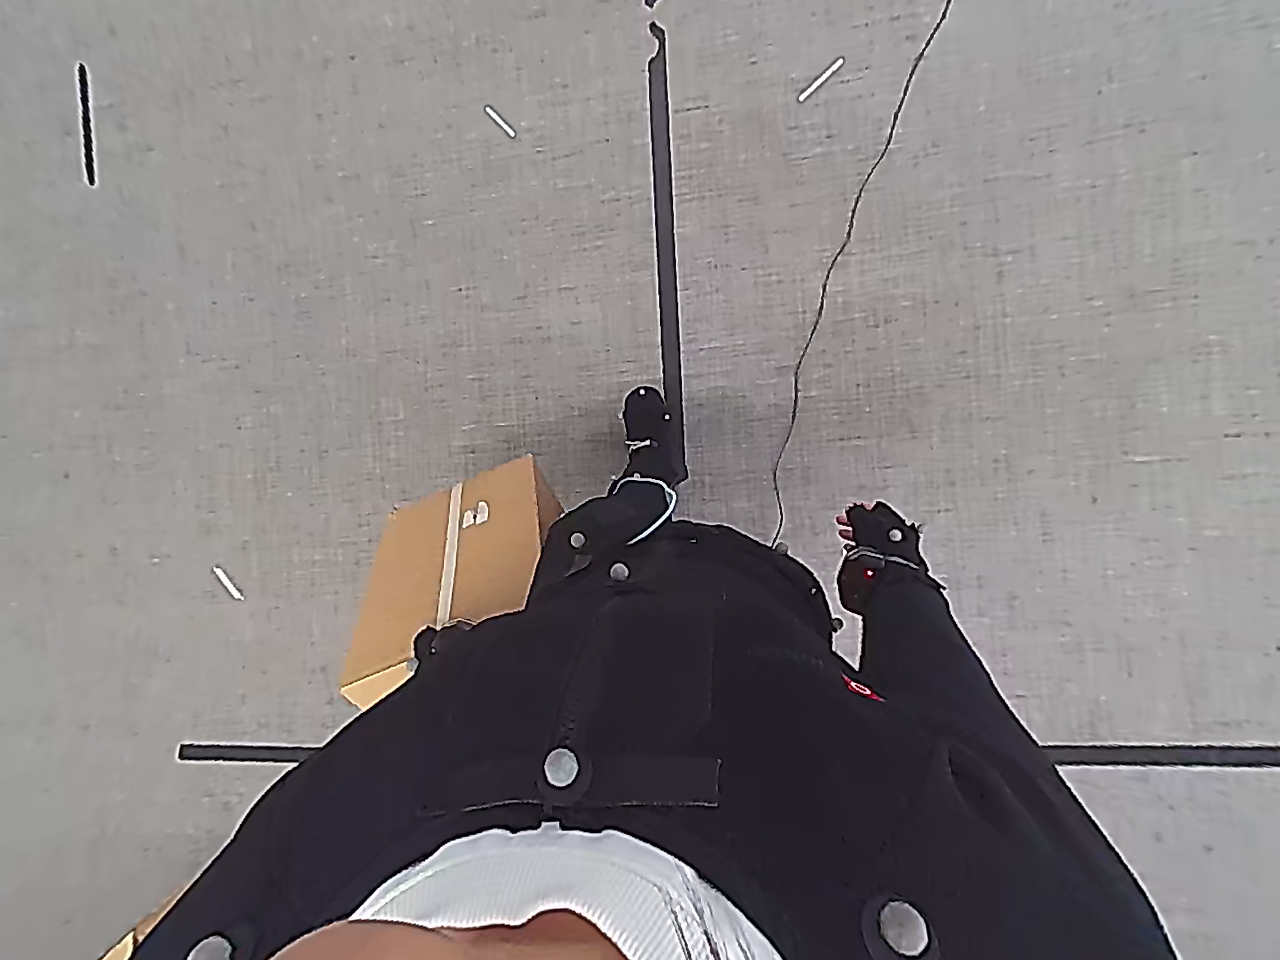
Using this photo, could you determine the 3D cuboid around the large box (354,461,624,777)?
[{"bbox_3d":[-0.253,0.236,0.994,0.320,0.408,0.320,-22,124,1],"label":"large box"}]
